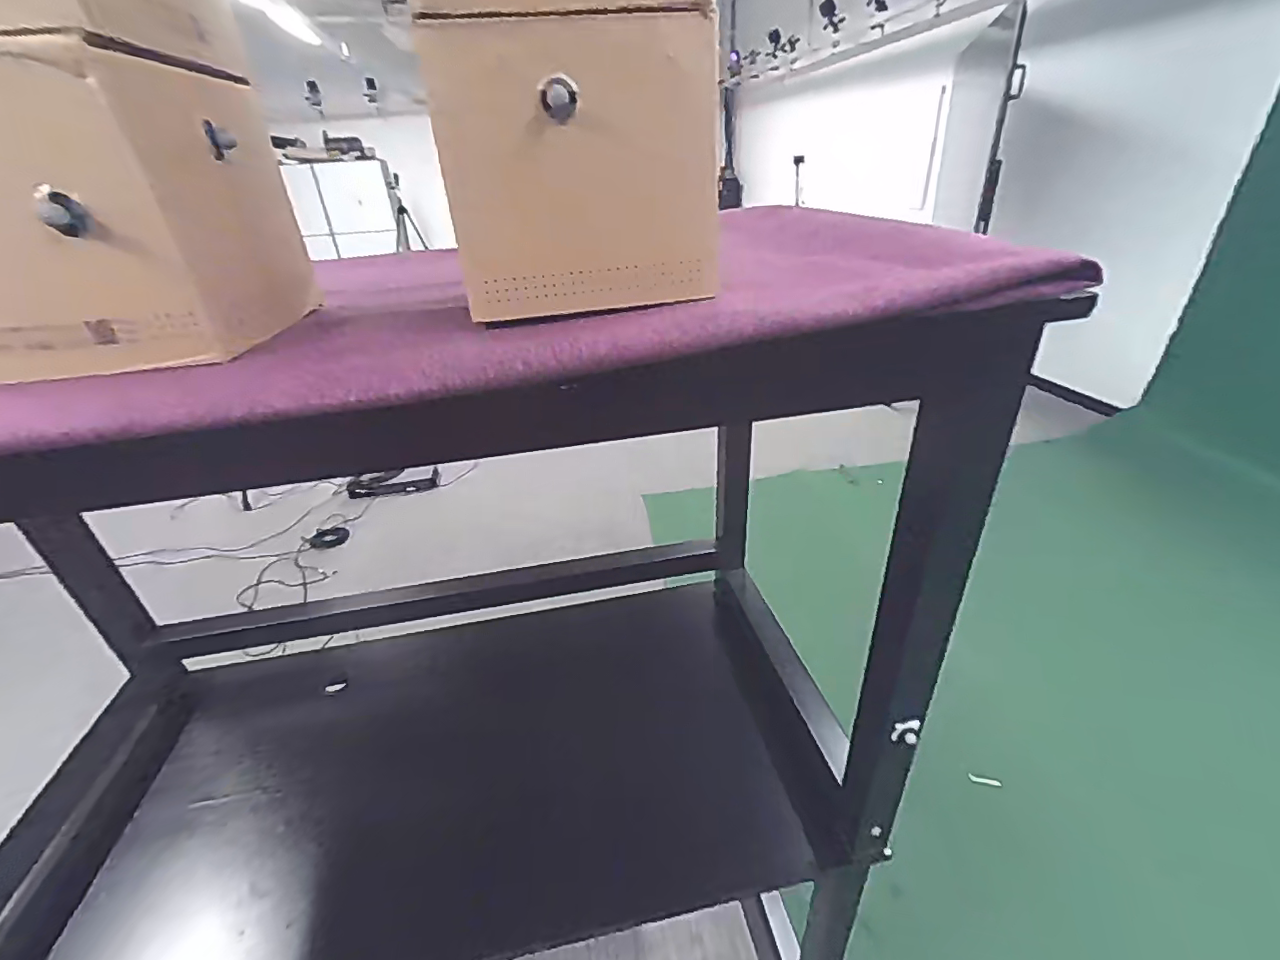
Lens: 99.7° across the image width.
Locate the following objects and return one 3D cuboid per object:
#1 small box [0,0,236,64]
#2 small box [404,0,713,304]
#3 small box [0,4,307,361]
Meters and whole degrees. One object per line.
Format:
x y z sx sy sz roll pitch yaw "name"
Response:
-0.364 -0.323 0.274 0.179 0.176 0.168 -7 31 -6 "small box"
-0.051 -0.233 0.405 0.179 0.176 0.168 -9 28 -8 "small box"
-0.355 -0.180 0.356 0.168 0.176 0.179 -7 29 -7 "small box"
